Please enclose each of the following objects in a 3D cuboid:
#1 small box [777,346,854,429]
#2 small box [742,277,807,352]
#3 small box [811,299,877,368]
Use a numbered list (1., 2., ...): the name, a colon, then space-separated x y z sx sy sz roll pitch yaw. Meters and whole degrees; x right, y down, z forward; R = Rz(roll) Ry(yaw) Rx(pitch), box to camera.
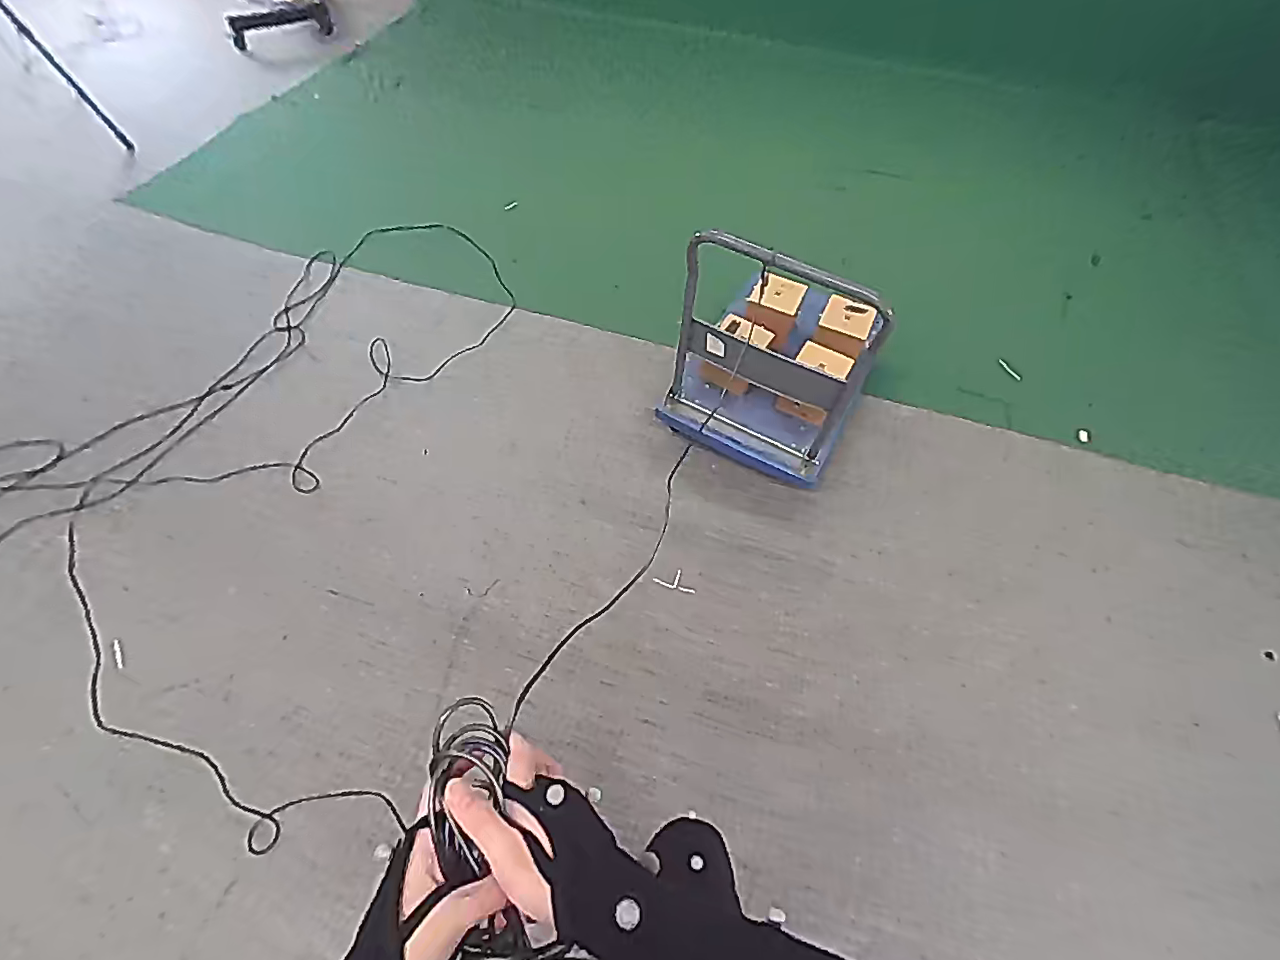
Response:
1. small box: 0.572 -0.303 1.784 0.168 0.176 0.179 28 61 15
2. small box: 0.482 -0.597 1.965 0.168 0.176 0.179 24 60 12
3. small box: 0.708 -0.499 1.911 0.168 0.176 0.179 23 61 13
